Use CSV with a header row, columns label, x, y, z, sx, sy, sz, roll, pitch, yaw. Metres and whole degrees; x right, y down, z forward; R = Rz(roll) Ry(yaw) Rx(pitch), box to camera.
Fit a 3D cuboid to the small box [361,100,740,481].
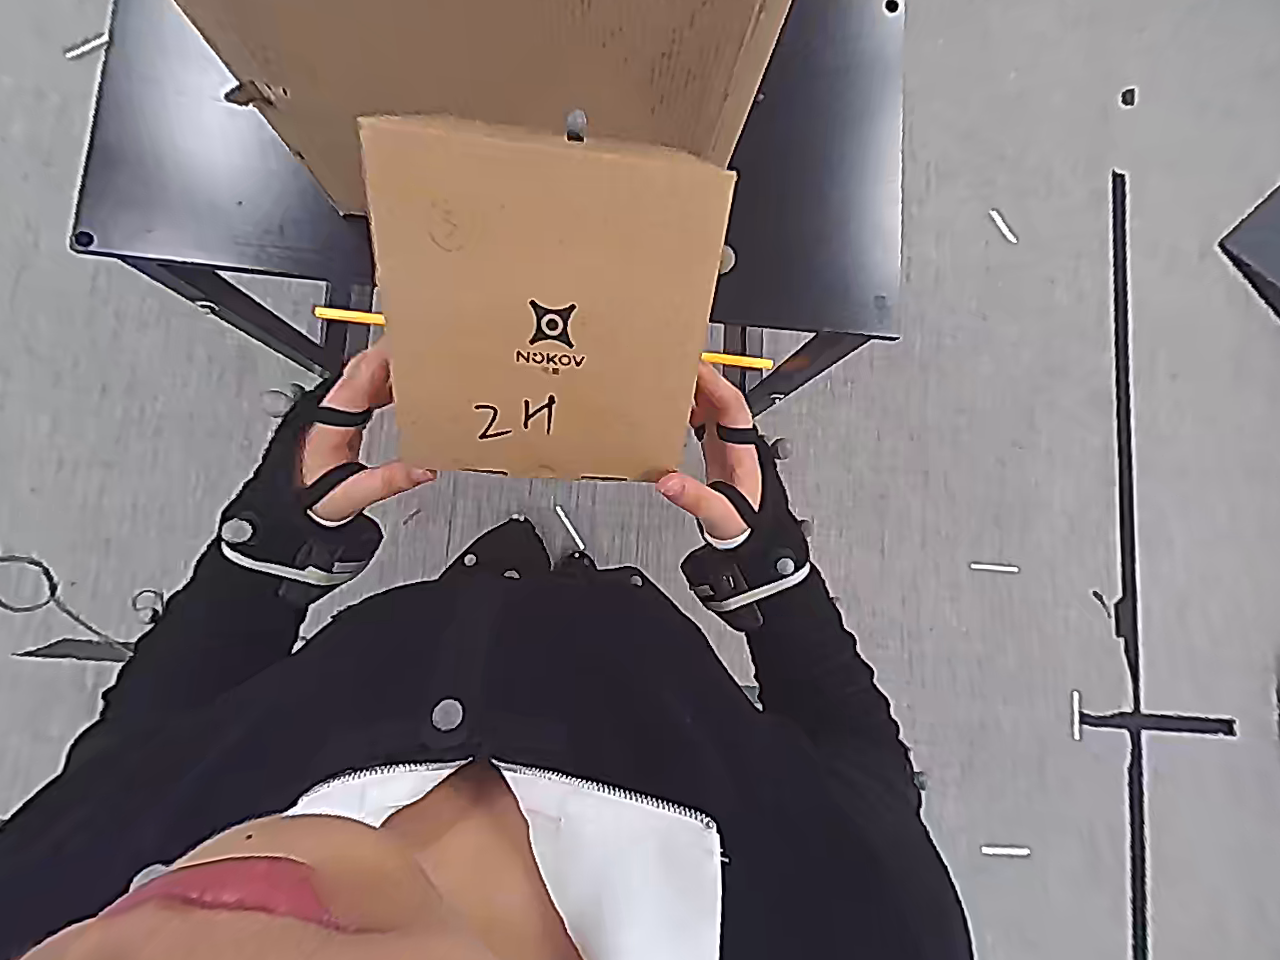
label,x,y,z,sx,sy,sz,roll,pitch,yaw
small box,-0.052,-0.121,0.341,0.168,0.176,0.179,4,124,-8
